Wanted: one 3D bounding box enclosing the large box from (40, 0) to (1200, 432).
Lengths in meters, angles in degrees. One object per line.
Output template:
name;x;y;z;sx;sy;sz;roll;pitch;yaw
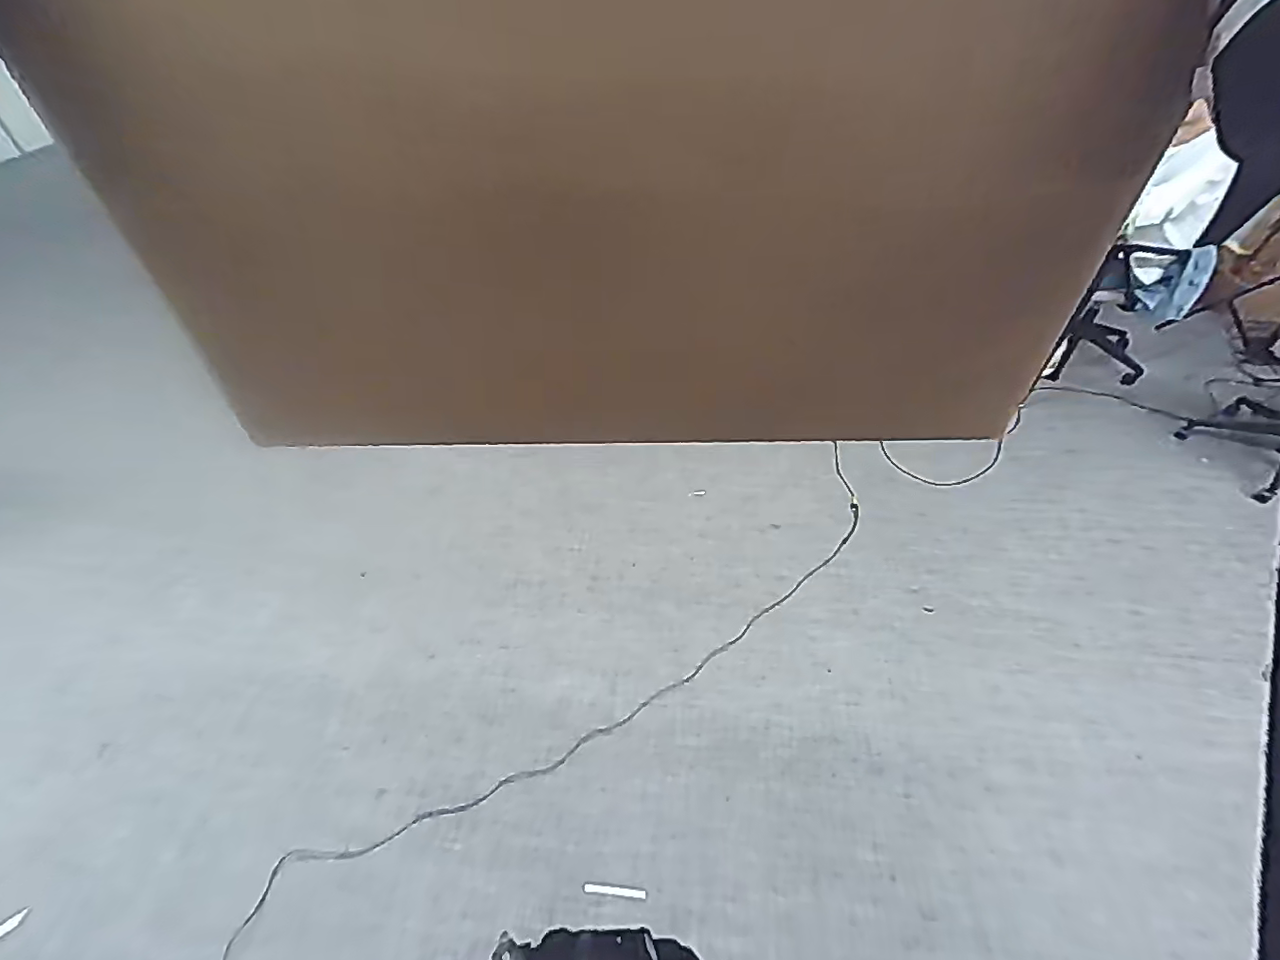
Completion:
large box;-0.007;-0.238;0.311;0.408;0.320;0.320;0;44;-1
